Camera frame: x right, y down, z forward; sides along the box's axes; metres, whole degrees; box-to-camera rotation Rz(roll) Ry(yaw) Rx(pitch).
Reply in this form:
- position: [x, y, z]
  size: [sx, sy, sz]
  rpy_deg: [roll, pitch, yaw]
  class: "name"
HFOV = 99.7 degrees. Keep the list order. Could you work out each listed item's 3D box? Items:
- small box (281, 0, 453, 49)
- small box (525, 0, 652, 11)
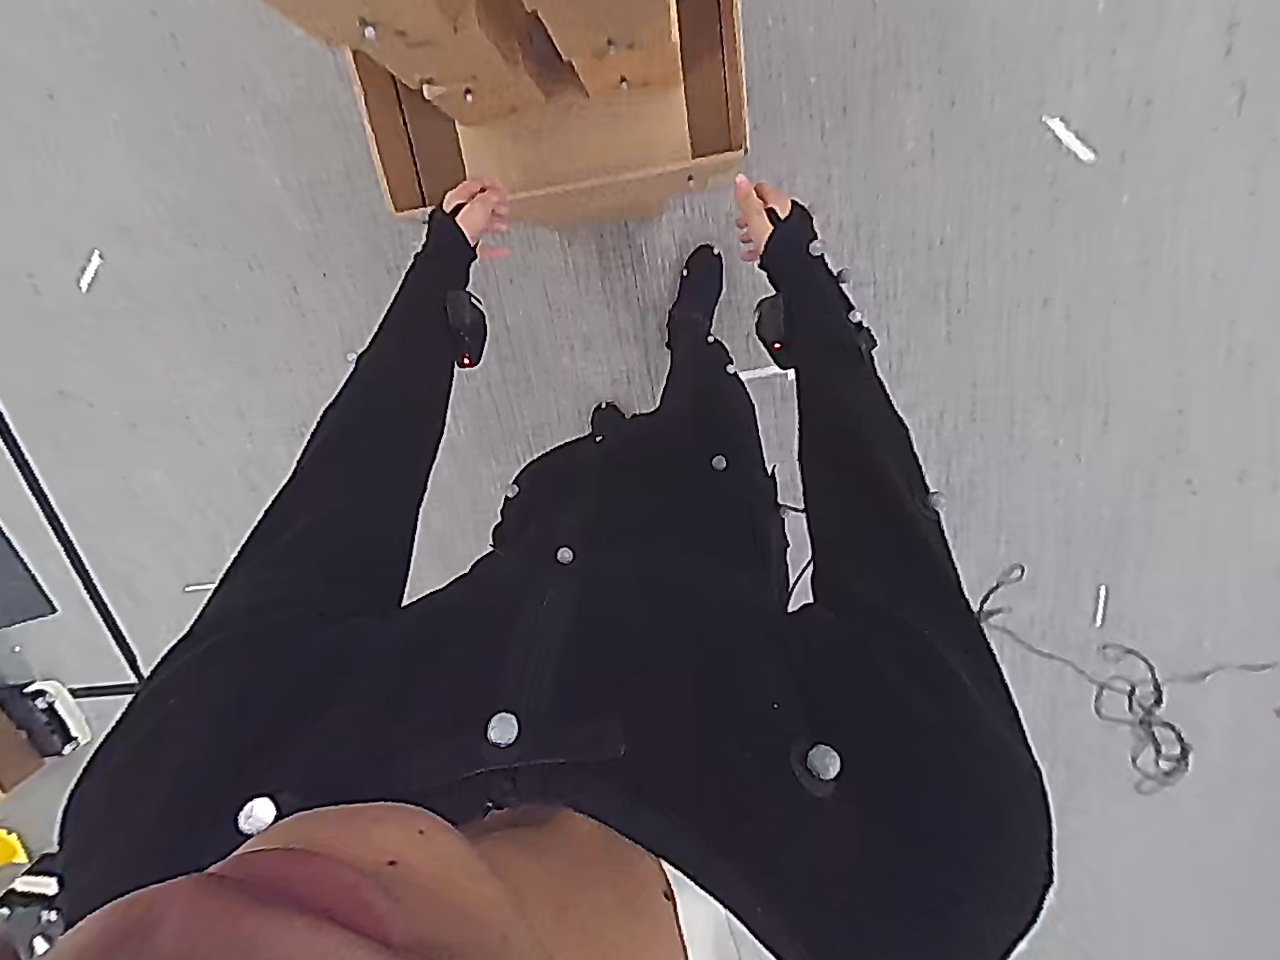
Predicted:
- position: [-0.320, -0.604, 0.575]
  size: [0.168, 0.176, 0.179]
  rpy_deg: [-2, 110, 4]
  class: "small box"
- position: [-0.059, -0.621, 0.556]
  size: [0.179, 0.176, 0.168]
  rpy_deg: [2, 110, 5]
  class: "small box"
